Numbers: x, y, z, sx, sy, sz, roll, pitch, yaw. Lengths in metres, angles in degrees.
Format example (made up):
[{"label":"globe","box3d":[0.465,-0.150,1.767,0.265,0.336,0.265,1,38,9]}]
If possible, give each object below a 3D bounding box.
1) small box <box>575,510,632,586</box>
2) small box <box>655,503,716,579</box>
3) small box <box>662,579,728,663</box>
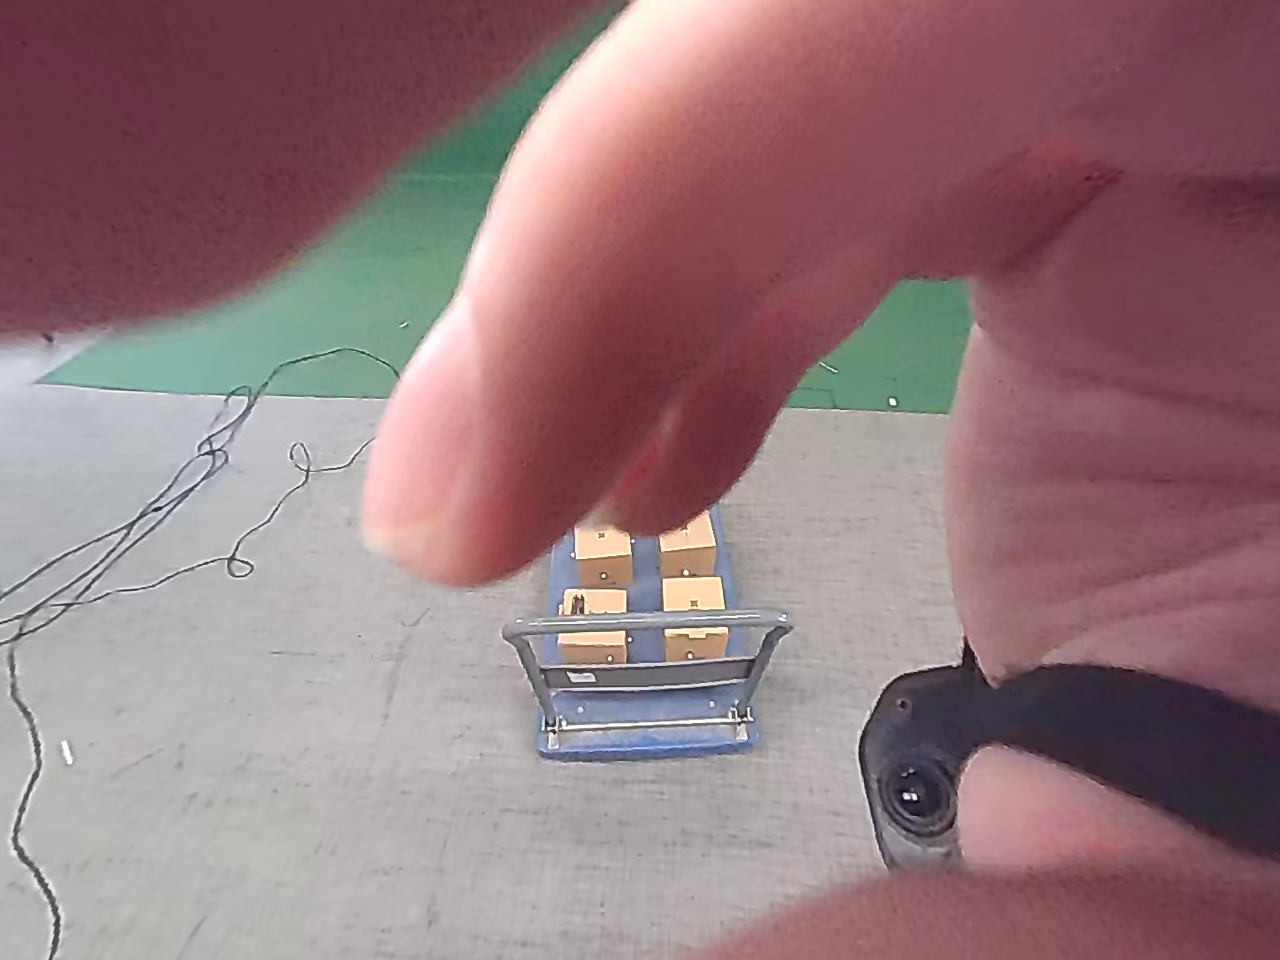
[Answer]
[{"label":"small box","box3d":[-0.113,0.219,1.682,0.168,0.176,0.179,-4,47,-4]},{"label":"small box","box3d":[0.137,0.196,1.696,0.168,0.176,0.179,-5,48,-2]},{"label":"small box","box3d":[0.147,0.395,1.514,0.168,0.176,0.179,-1,48,0]}]
